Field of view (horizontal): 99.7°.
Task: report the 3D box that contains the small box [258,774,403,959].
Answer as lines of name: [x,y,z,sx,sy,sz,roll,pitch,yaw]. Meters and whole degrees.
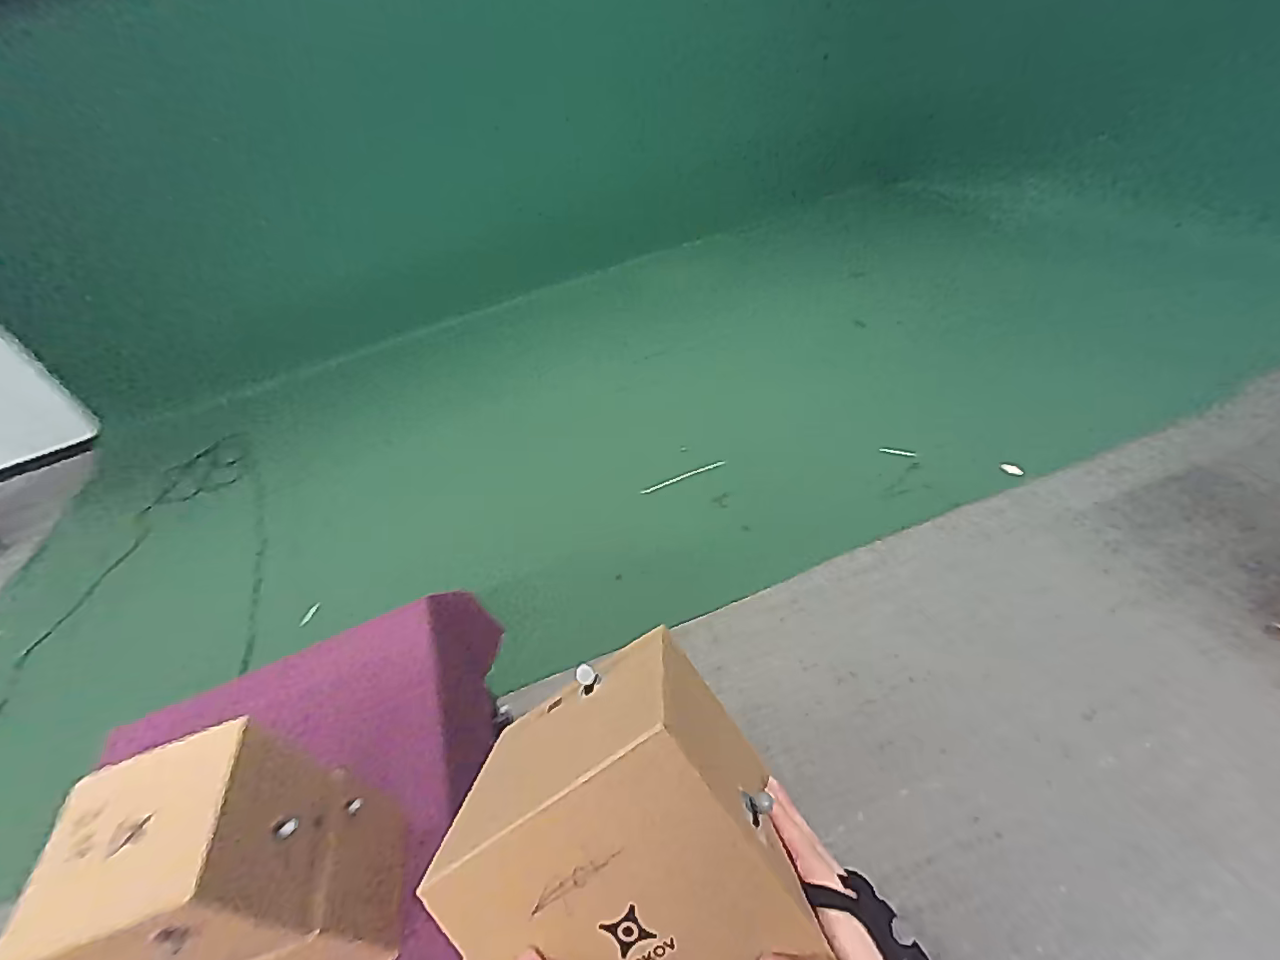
small box: [-0.411,0.507,0.663,0.168,0.176,0.179,-22,40,-5]

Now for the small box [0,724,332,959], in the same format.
small box: [-0.453,0.390,0.555,0.179,0.176,0.168,-21,40,-4]

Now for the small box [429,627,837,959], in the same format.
small box: [0.002,0.234,0.371,0.168,0.179,0.176,-34,1,5]
